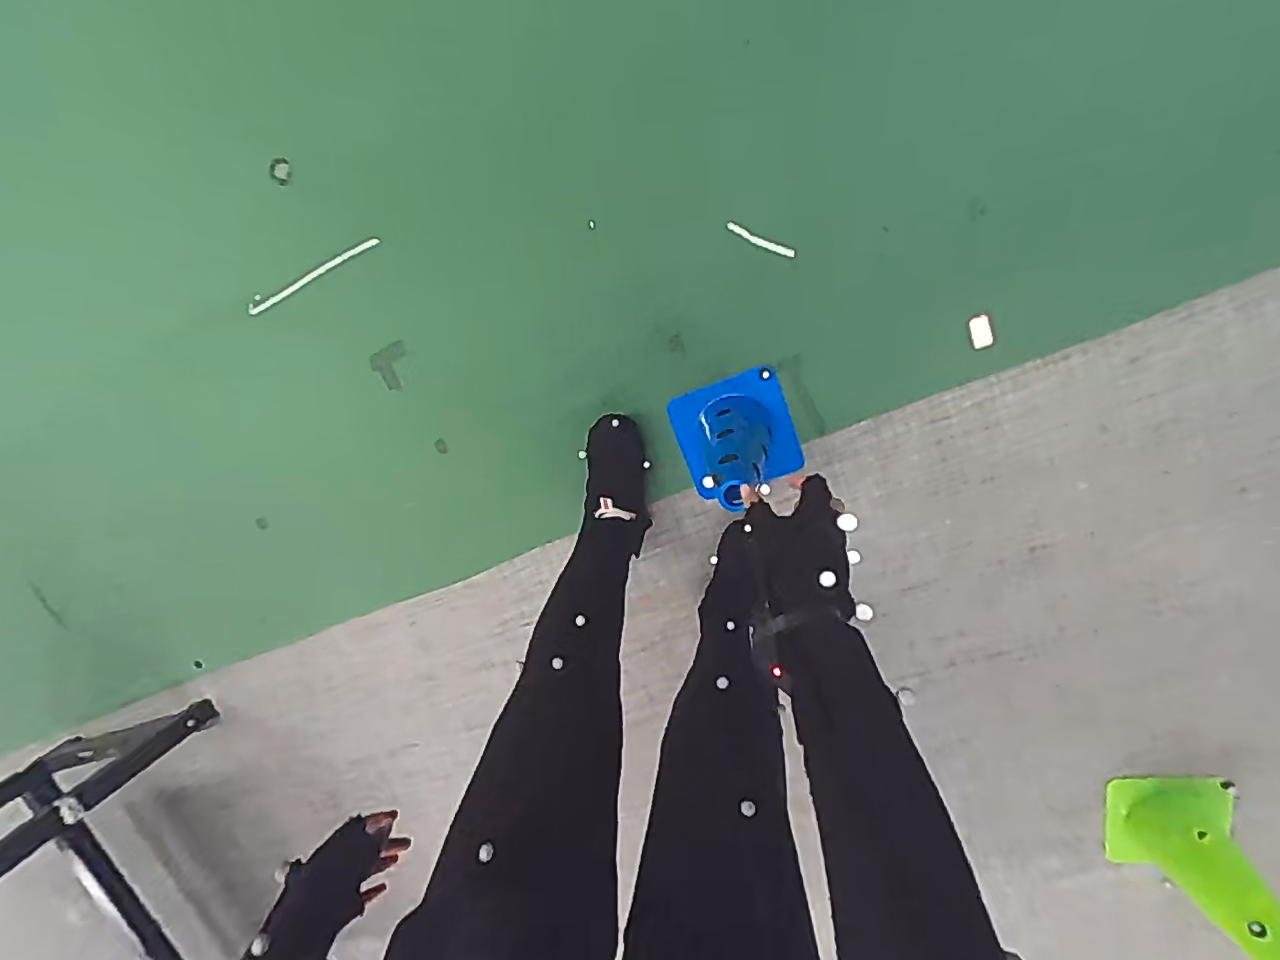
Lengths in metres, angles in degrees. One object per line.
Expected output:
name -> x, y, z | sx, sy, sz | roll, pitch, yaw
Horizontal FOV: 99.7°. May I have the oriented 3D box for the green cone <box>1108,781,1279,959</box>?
green cone -> 0.960, 0.694, 0.850 | 0.200, 0.368, 0.202 | -10, 104, 13
